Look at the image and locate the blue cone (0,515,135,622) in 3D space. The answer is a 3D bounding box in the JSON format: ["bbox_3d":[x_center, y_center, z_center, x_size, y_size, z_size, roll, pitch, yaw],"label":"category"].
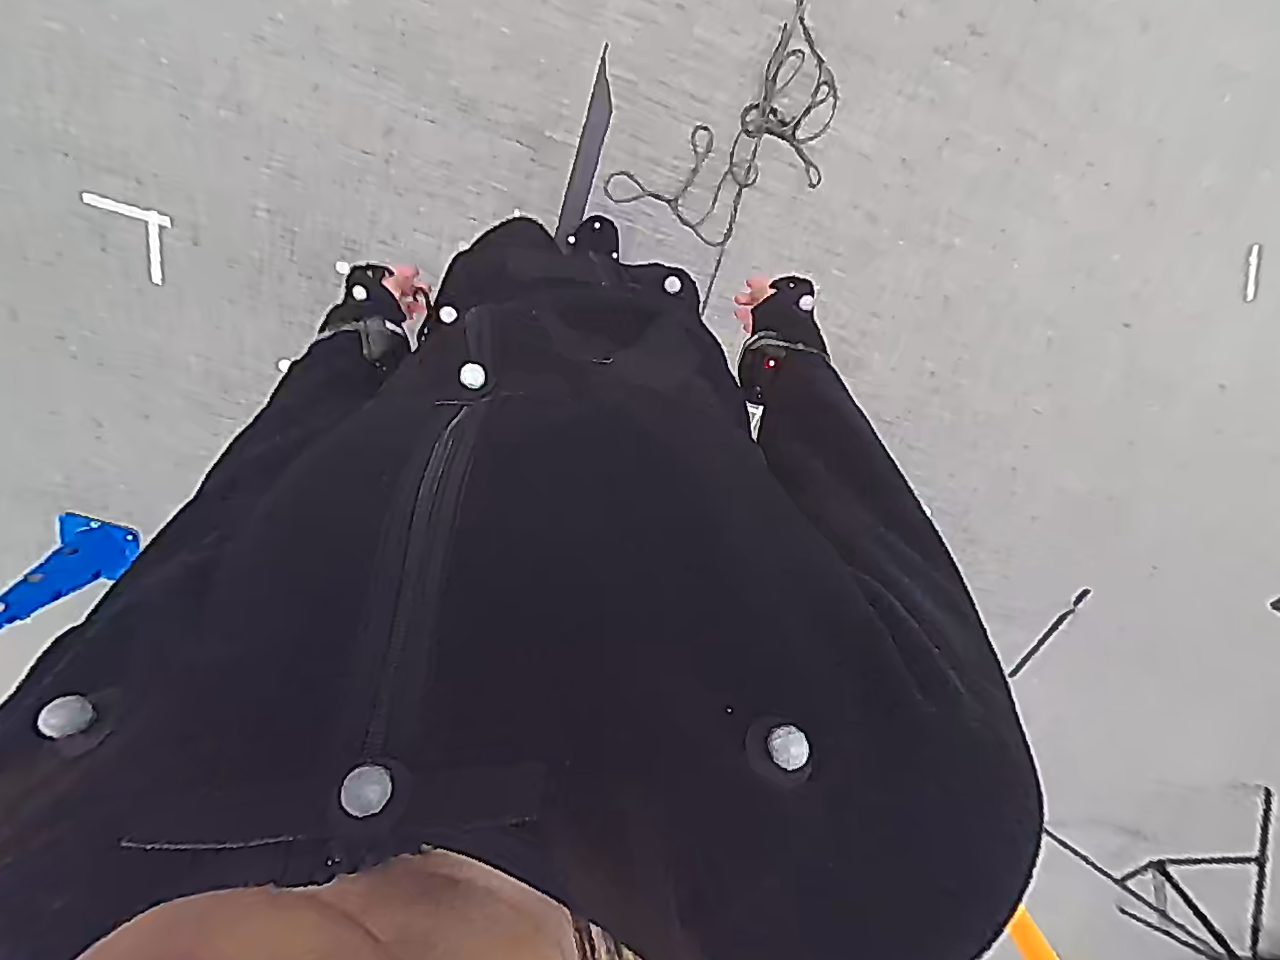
[{"bbox_3d":[-1.521,0.266,1.374,0.193,0.380,0.192,20,112,-12],"label":"blue cone"}]
